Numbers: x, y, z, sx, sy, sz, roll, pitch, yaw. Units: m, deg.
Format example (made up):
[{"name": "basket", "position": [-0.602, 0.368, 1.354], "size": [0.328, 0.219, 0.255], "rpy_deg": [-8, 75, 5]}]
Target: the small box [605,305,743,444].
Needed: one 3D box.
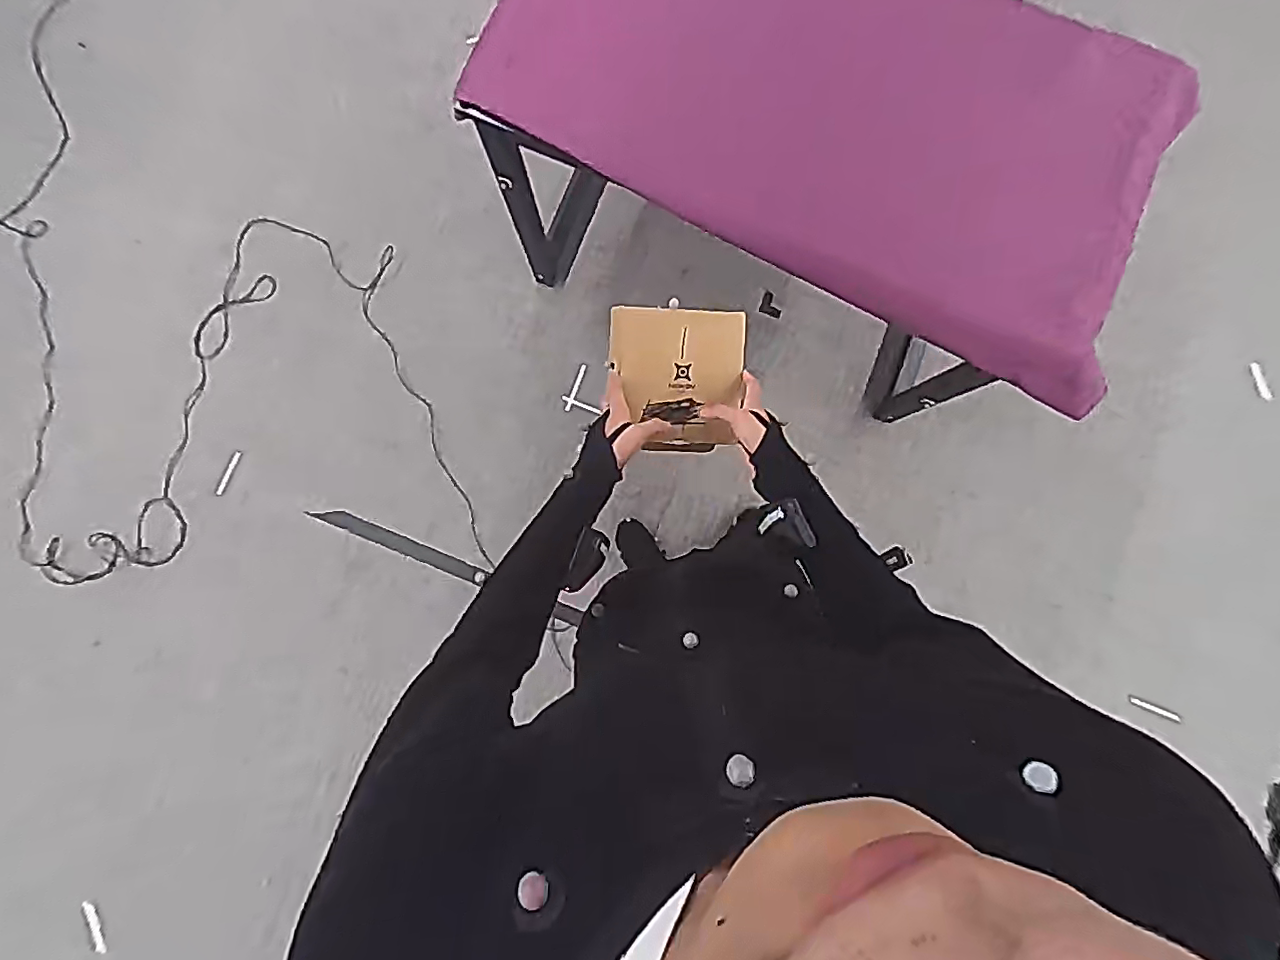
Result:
[{"name": "small box", "position": [0.039, -0.159, 0.789], "size": [0.168, 0.176, 0.179], "rpy_deg": [1, 106, -8]}]
